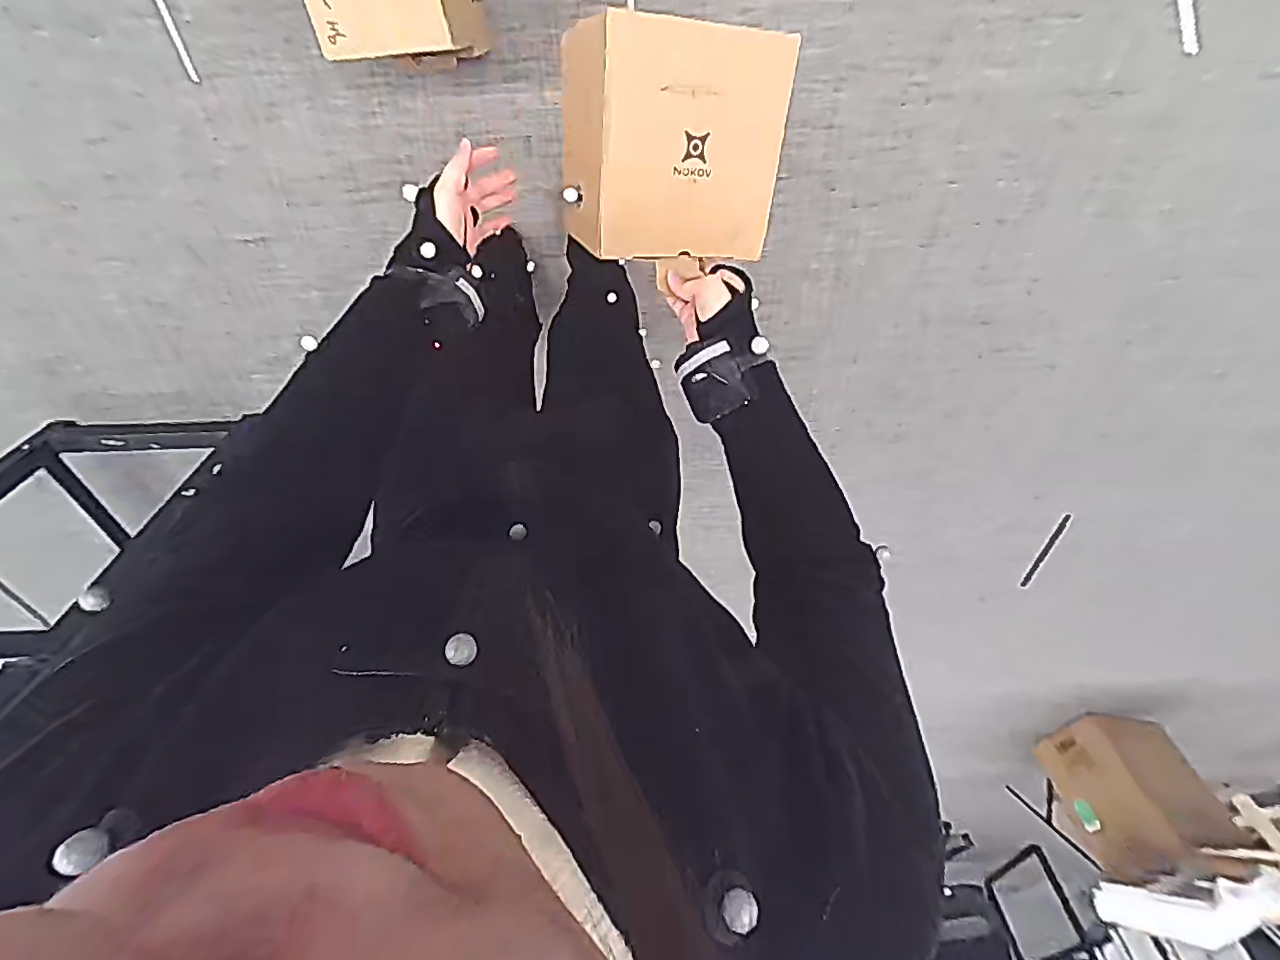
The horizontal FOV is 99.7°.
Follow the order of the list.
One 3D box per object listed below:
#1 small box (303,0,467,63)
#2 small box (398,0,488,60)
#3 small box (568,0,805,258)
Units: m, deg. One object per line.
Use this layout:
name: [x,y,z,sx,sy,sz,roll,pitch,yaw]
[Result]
small box: [-0.341,-0.671,0.721,0.179,0.176,0.168,-5,130,0]
small box: [-0.343,-0.777,0.848,0.168,0.176,0.179,-1,130,-3]
small box: [0.027,-0.325,0.520,0.168,0.176,0.179,-6,123,-17]
